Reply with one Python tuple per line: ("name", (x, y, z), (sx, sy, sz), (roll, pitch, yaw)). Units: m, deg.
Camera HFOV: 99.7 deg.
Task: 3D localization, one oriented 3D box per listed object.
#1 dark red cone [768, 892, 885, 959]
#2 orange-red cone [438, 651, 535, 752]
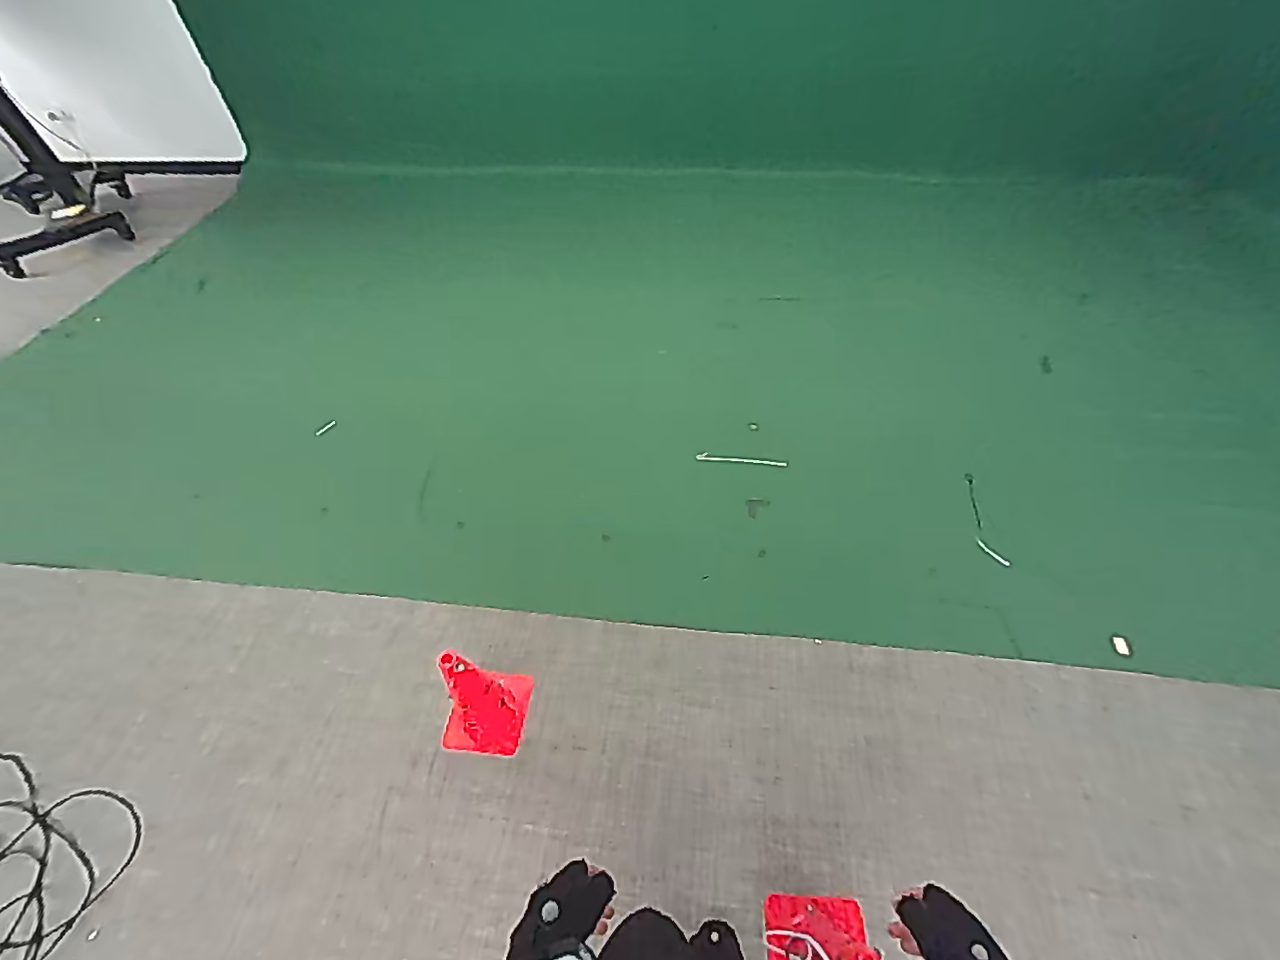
("dark red cone", (0.352, 0.828, 0.936), (0.202, 0.394, 0.201), (0, 49, 3))
("orange-red cone", (-0.399, 0.493, 1.285), (0.198, 0.360, 0.199), (4, 52, 7))
